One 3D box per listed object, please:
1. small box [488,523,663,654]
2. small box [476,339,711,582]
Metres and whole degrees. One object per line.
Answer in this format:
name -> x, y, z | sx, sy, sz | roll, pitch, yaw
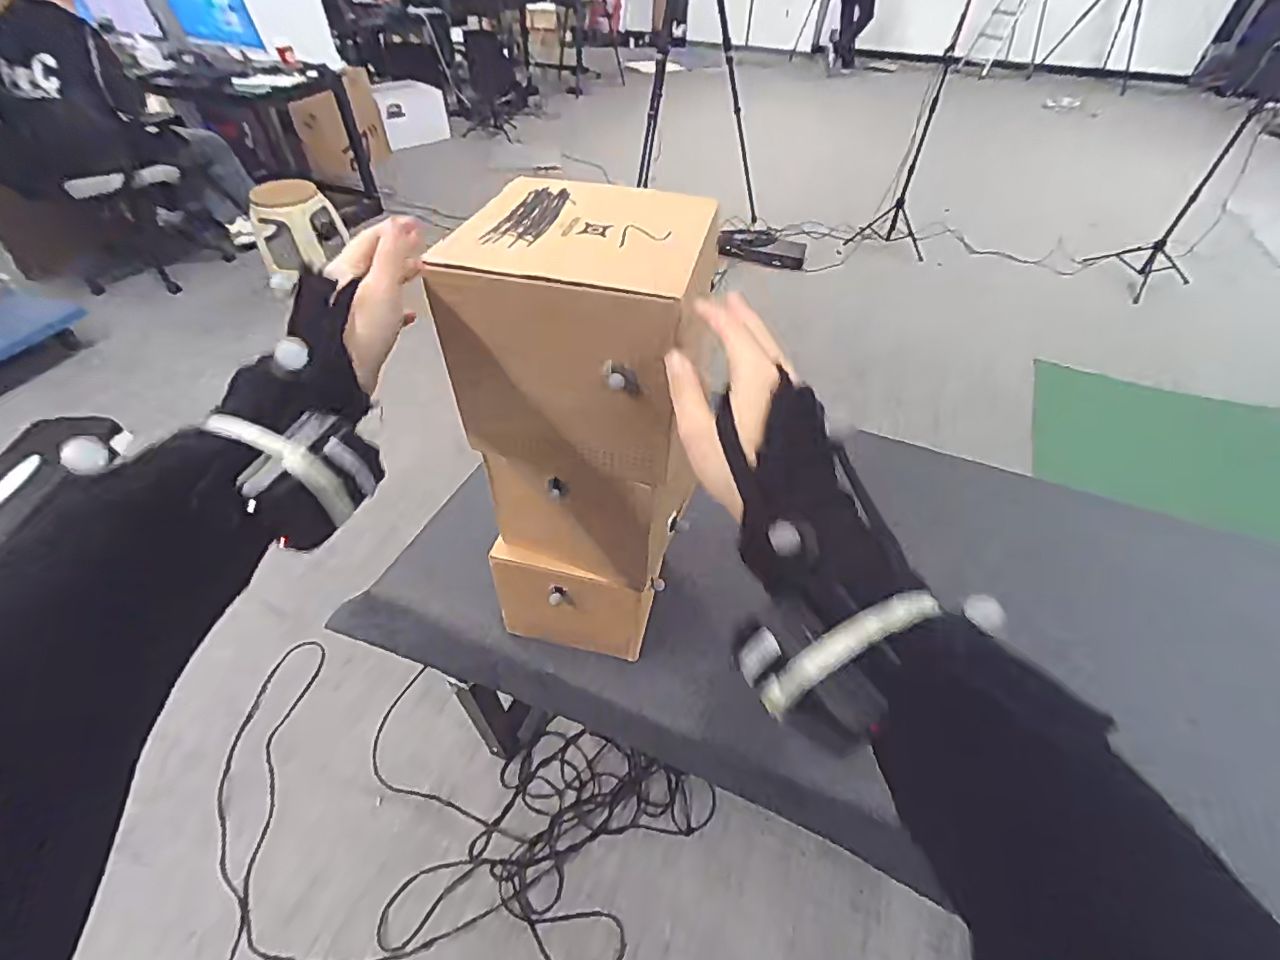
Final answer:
small box -> -0.065, 0.098, 0.682 | 0.179, 0.176, 0.168 | 11, 47, 8
small box -> -0.041, -0.019, 0.570 | 0.179, 0.176, 0.168 | 18, 49, 13
